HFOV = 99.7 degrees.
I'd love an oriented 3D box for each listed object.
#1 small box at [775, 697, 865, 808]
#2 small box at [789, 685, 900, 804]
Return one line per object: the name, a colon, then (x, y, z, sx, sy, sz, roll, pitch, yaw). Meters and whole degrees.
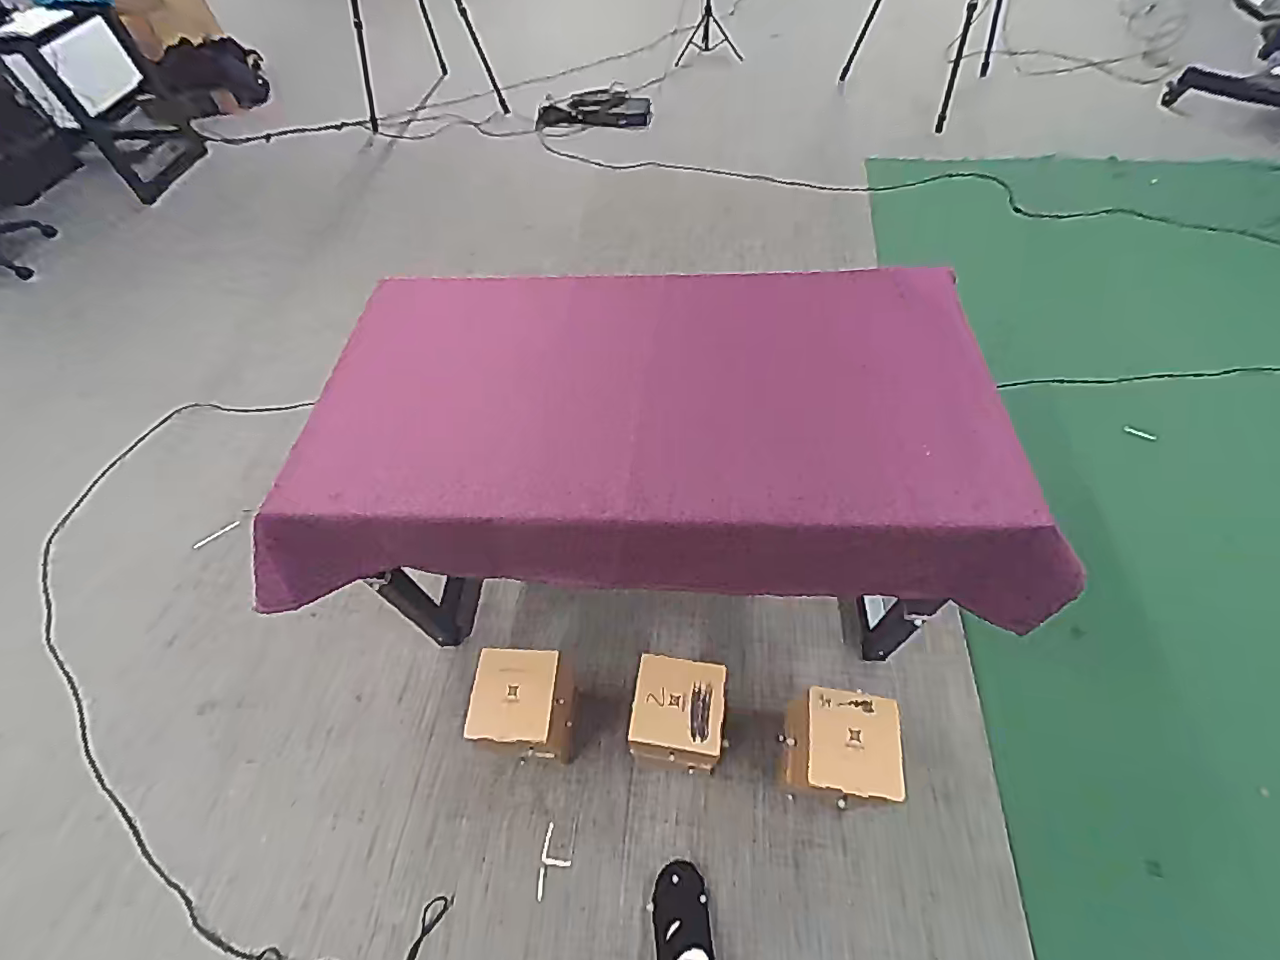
small box: (0.401, 0.611, 1.203, 0.168, 0.176, 0.179, 11, 57, 11)
small box: (0.394, 0.523, 1.062, 0.168, 0.176, 0.179, 9, 58, 7)
